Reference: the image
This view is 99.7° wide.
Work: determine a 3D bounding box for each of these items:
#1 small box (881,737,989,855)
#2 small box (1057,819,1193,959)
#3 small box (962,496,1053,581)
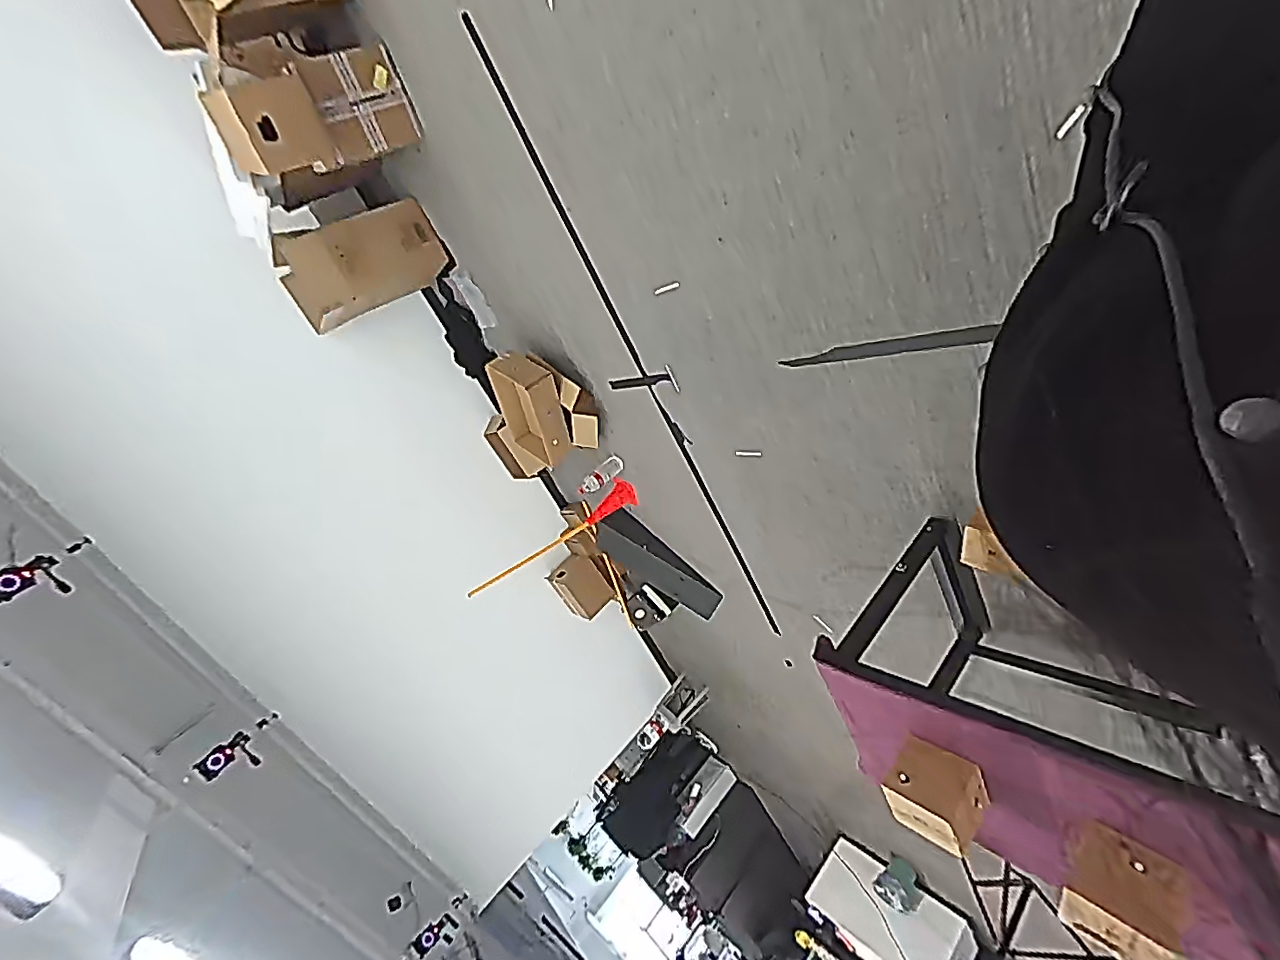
[{"bbox_3d":[0.763,0.803,1.397,0.179,0.176,0.168,8,133,53],"label":"small box"},{"bbox_3d":[0.989,0.849,1.107,0.168,0.176,0.179,19,140,46],"label":"small box"},{"bbox_3d":[1.126,0.171,1.661,0.179,0.176,0.168,22,142,41],"label":"small box"}]
